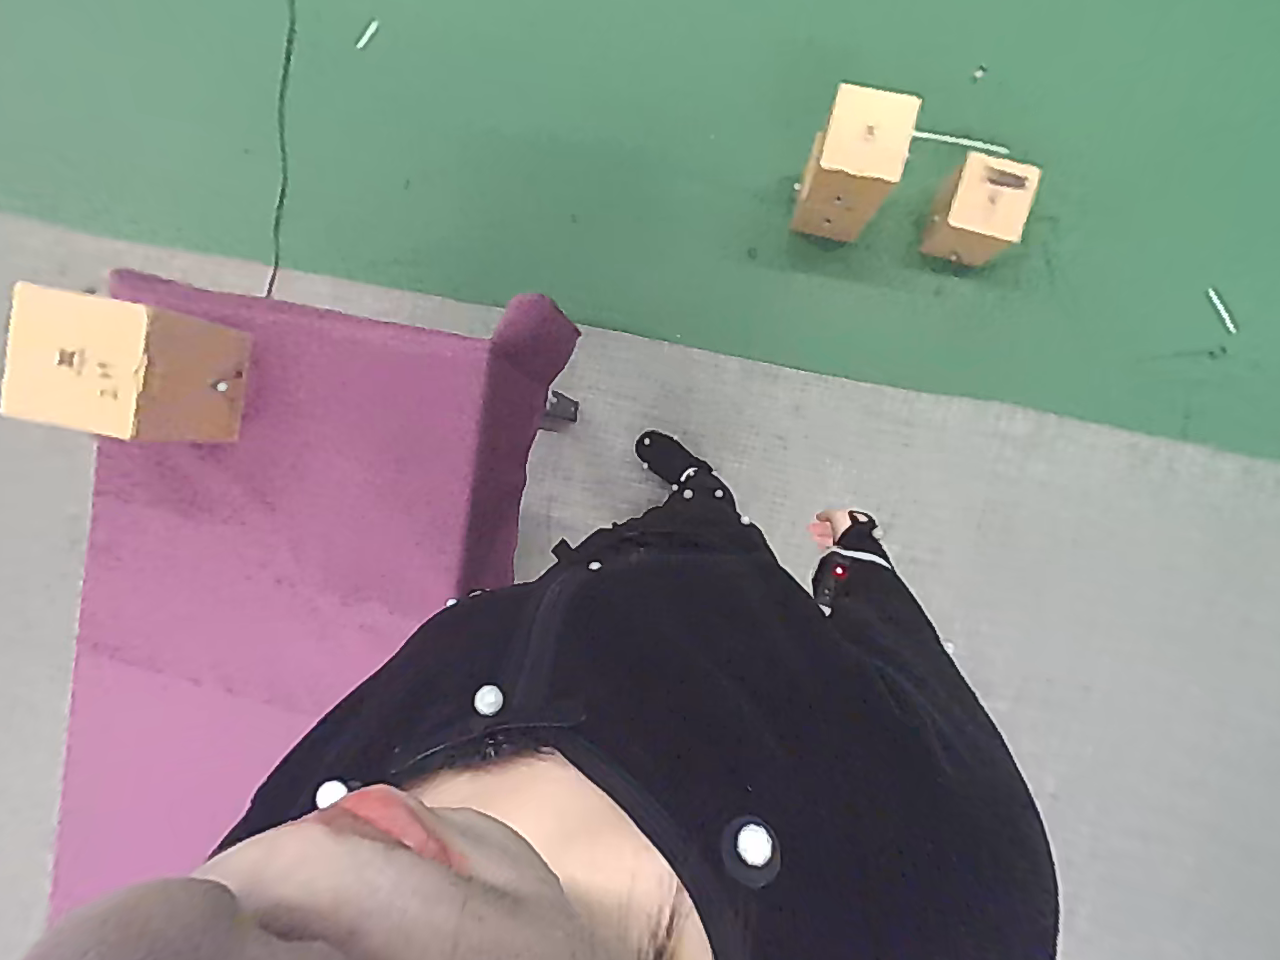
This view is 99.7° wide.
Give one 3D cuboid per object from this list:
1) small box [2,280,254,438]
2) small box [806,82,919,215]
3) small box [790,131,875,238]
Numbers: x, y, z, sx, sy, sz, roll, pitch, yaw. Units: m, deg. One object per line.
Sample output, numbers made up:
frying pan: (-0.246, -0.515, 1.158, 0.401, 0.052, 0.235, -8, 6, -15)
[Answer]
small box: (-0.685, -0.153, 0.741, 0.179, 0.176, 0.168, 12, 94, 1)
small box: (0.479, -0.720, 1.191, 0.168, 0.176, 0.179, 14, 93, 5)
small box: (0.493, -0.729, 1.353, 0.179, 0.176, 0.168, 14, 93, 6)
